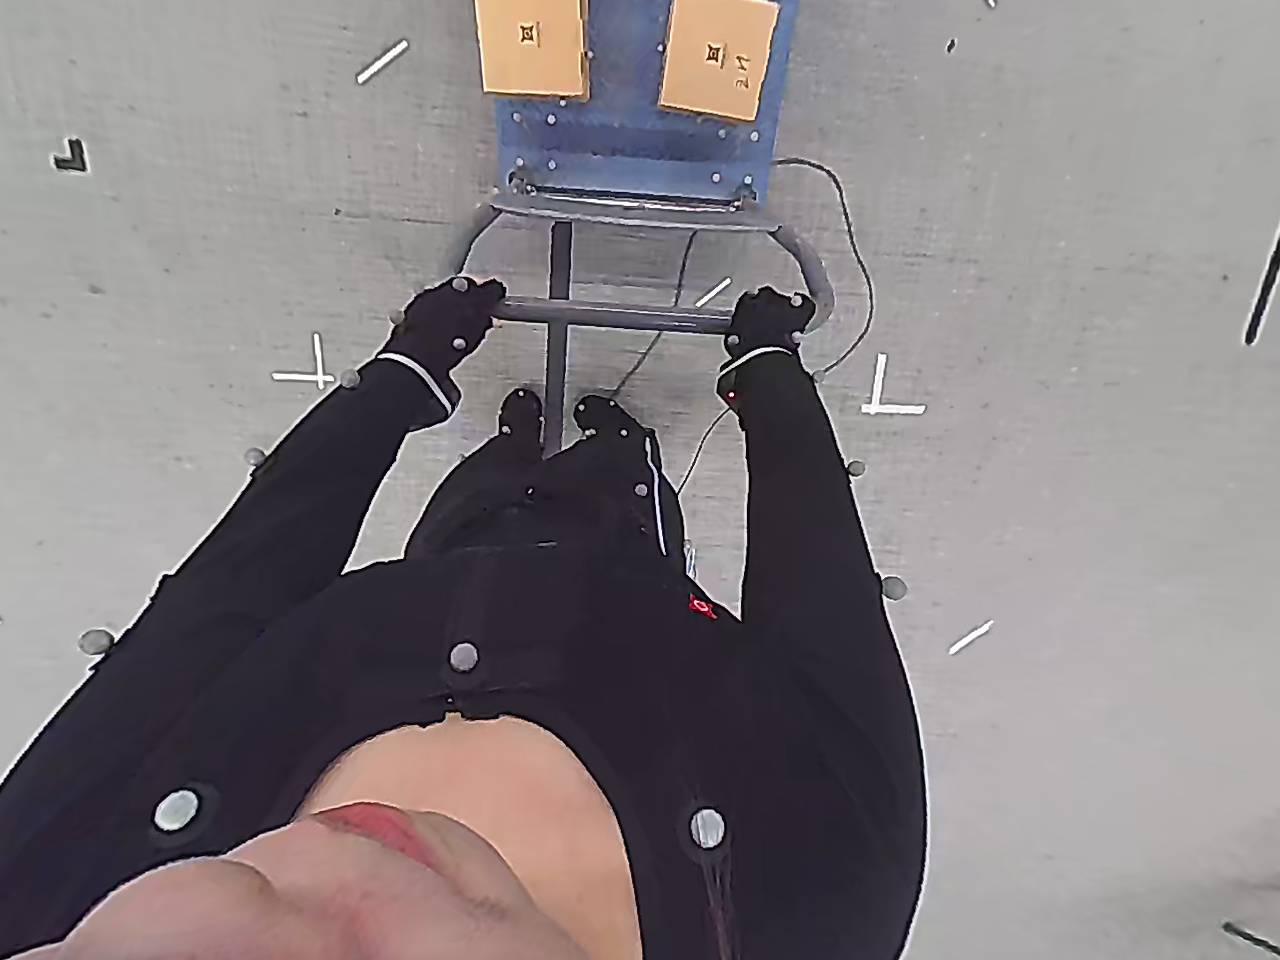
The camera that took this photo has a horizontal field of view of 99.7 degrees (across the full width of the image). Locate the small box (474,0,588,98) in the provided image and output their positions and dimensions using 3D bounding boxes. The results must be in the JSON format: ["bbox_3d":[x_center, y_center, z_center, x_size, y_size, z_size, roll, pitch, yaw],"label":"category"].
[{"bbox_3d":[-0.185,-0.789,0.964,0.179,0.176,0.168,0,122,-3],"label":"small box"}]

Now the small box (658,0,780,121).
[{"bbox_3d":[0.131,-0.767,0.985,0.179,0.176,0.168,7,122,-6],"label":"small box"}]
